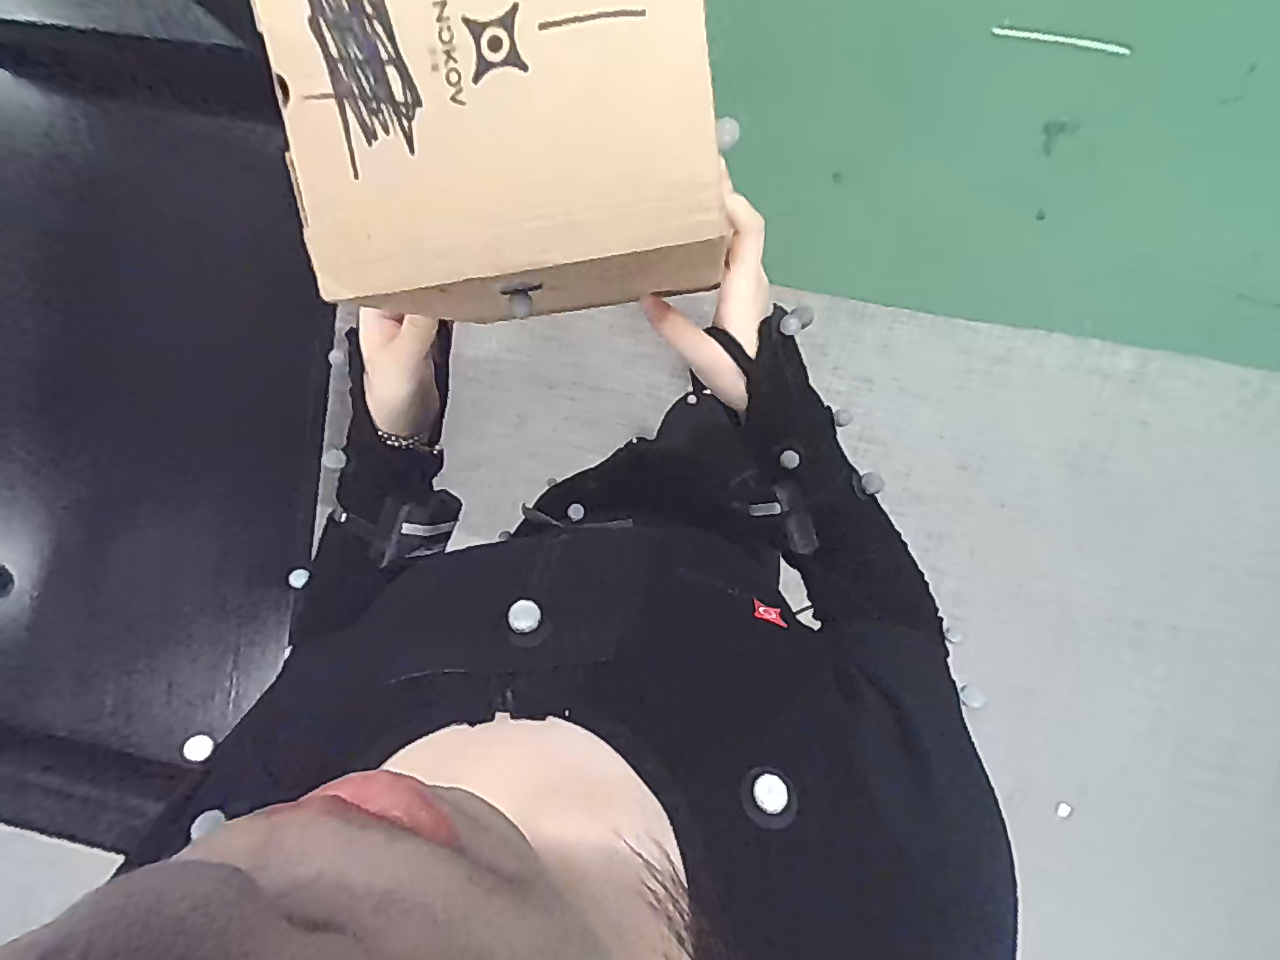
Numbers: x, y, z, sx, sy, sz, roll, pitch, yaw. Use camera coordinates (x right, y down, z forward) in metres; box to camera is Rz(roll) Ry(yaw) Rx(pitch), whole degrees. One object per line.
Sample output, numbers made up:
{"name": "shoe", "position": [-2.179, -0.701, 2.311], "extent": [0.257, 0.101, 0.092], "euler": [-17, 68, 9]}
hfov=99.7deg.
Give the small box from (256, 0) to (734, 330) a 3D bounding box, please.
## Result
{"name": "small box", "position": [-0.047, -0.174, 0.278], "extent": [0.179, 0.176, 0.168], "euler": [-5, 102, 8]}
